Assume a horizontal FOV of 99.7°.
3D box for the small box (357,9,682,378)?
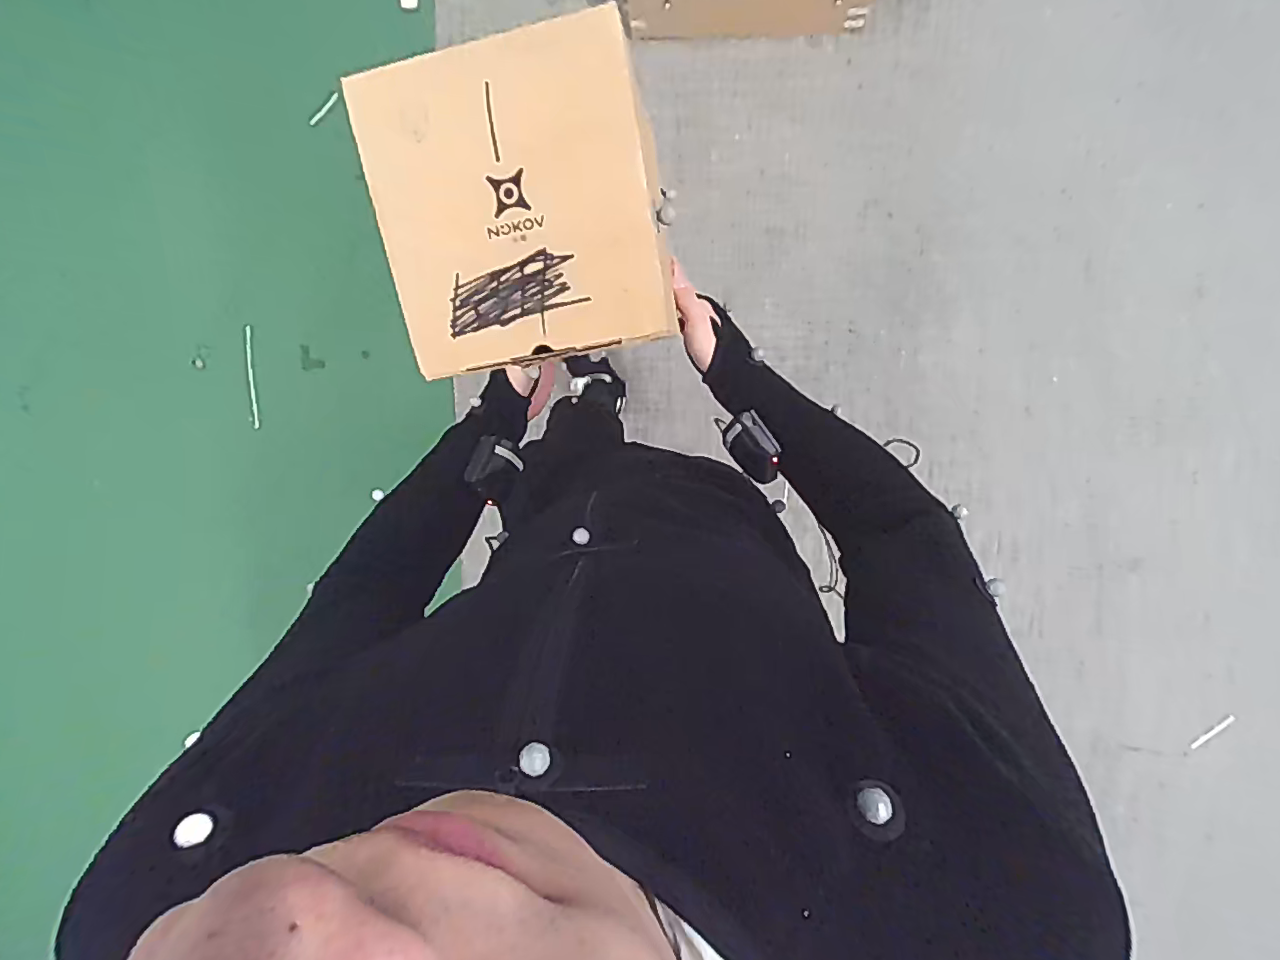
[{"bbox_3d":[-0.062,-0.179,0.395,0.168,0.176,0.179,-8,103,7],"label":"small box"}]
